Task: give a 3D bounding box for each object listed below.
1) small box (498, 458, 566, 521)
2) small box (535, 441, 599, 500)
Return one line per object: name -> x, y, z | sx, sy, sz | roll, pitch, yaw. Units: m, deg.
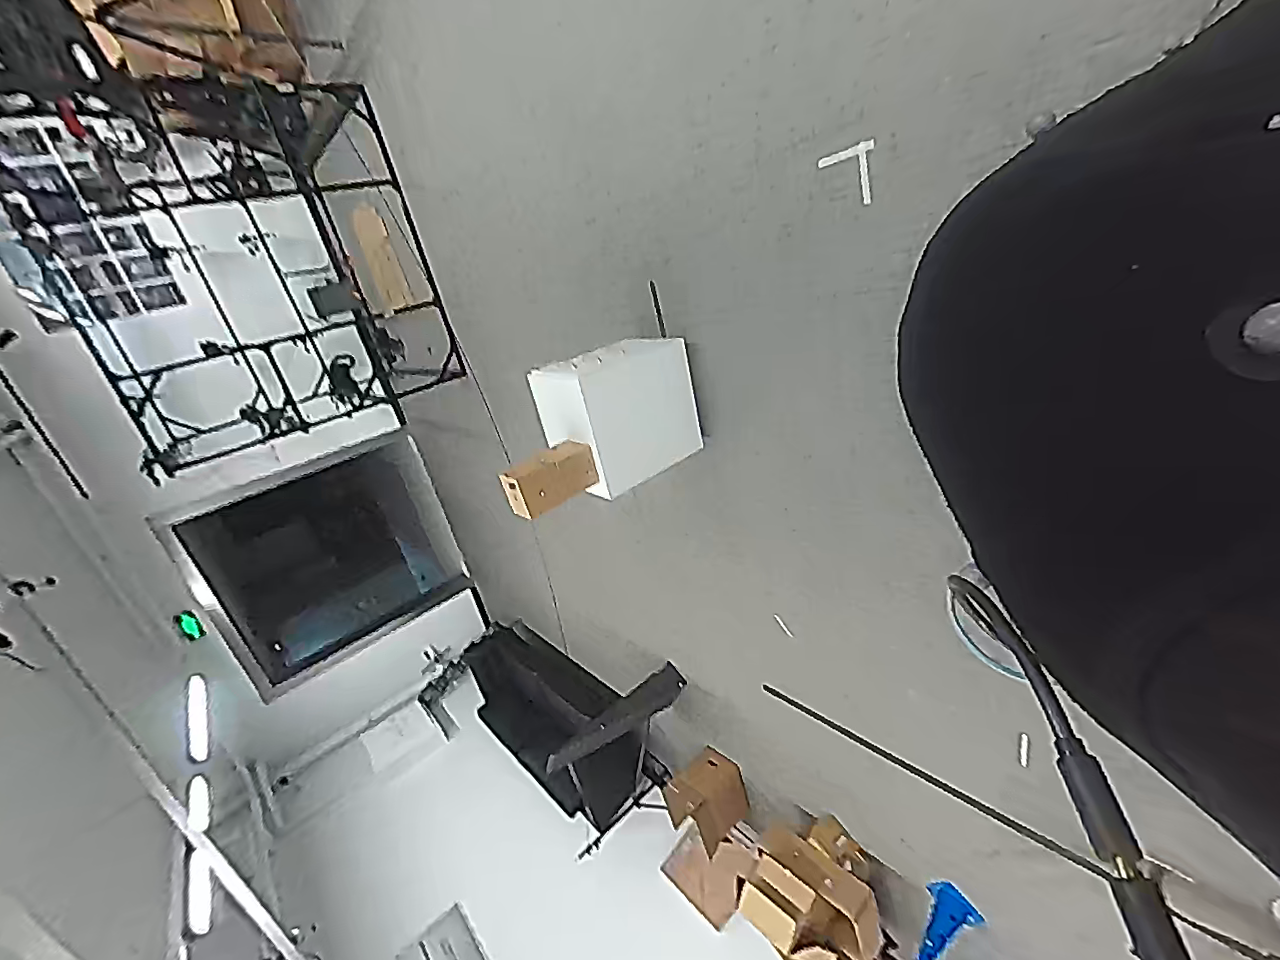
small box -> -0.411, 0.029, 2.081 | 0.168, 0.176, 0.179 | 14, 127, 52
small box -> -0.290, -0.044, 2.165 | 0.179, 0.176, 0.168 | 18, 129, 49
